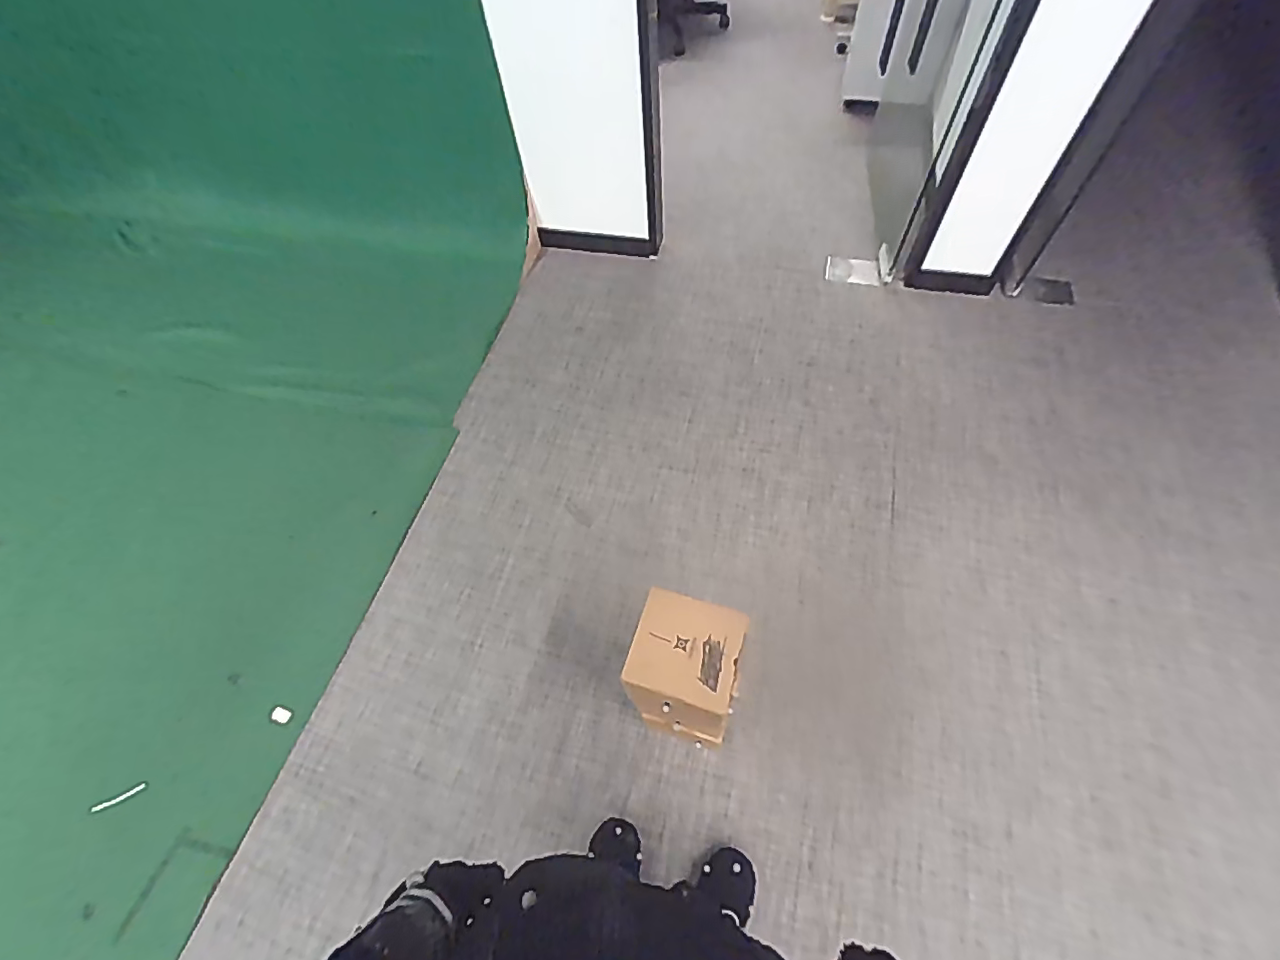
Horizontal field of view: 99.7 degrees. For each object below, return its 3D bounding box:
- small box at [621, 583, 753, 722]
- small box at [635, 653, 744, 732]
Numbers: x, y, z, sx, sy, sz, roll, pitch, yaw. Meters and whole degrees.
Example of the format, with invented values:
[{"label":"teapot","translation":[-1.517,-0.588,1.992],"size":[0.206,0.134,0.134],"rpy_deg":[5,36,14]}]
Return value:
[{"label":"small box","translation":[0.083,0.310,0.953],"size":[0.179,0.176,0.168],"rpy_deg":[17,60,15]},{"label":"small box","translation":[0.102,0.396,1.095],"size":[0.179,0.176,0.168],"rpy_deg":[15,61,13]}]
